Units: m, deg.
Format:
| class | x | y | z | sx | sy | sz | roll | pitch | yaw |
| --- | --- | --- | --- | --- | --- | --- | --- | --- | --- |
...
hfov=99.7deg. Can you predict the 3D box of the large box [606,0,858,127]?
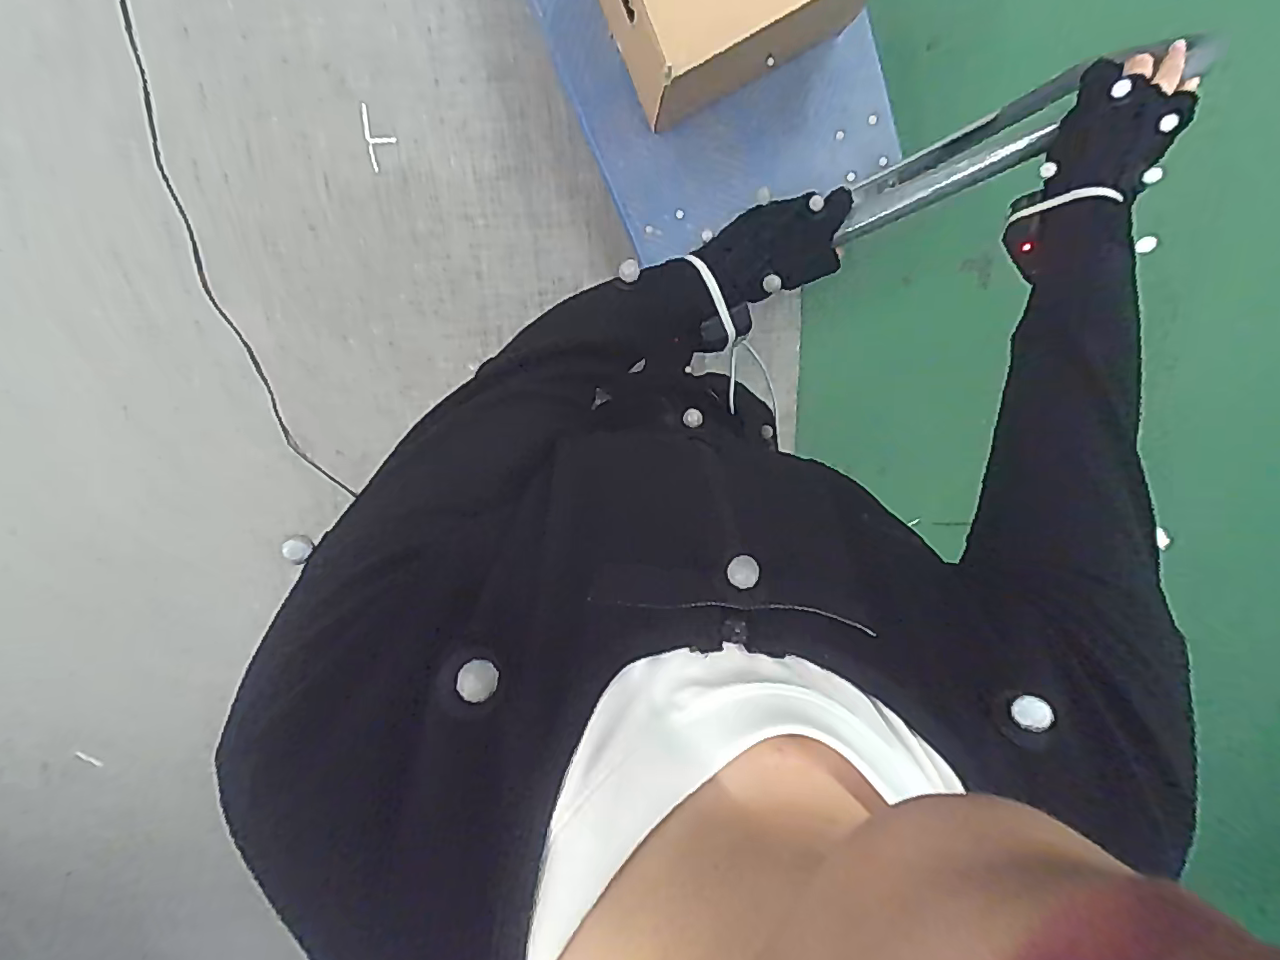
| class | x | y | z | sx | sy | sz | roll | pitch | yaw |
| --- | --- | --- | --- | --- | --- | --- | --- | --- | --- |
| large box | 0.153 | -0.864 | 0.875 | 0.408 | 0.320 | 0.320 | -26 | 109 | 7 |
